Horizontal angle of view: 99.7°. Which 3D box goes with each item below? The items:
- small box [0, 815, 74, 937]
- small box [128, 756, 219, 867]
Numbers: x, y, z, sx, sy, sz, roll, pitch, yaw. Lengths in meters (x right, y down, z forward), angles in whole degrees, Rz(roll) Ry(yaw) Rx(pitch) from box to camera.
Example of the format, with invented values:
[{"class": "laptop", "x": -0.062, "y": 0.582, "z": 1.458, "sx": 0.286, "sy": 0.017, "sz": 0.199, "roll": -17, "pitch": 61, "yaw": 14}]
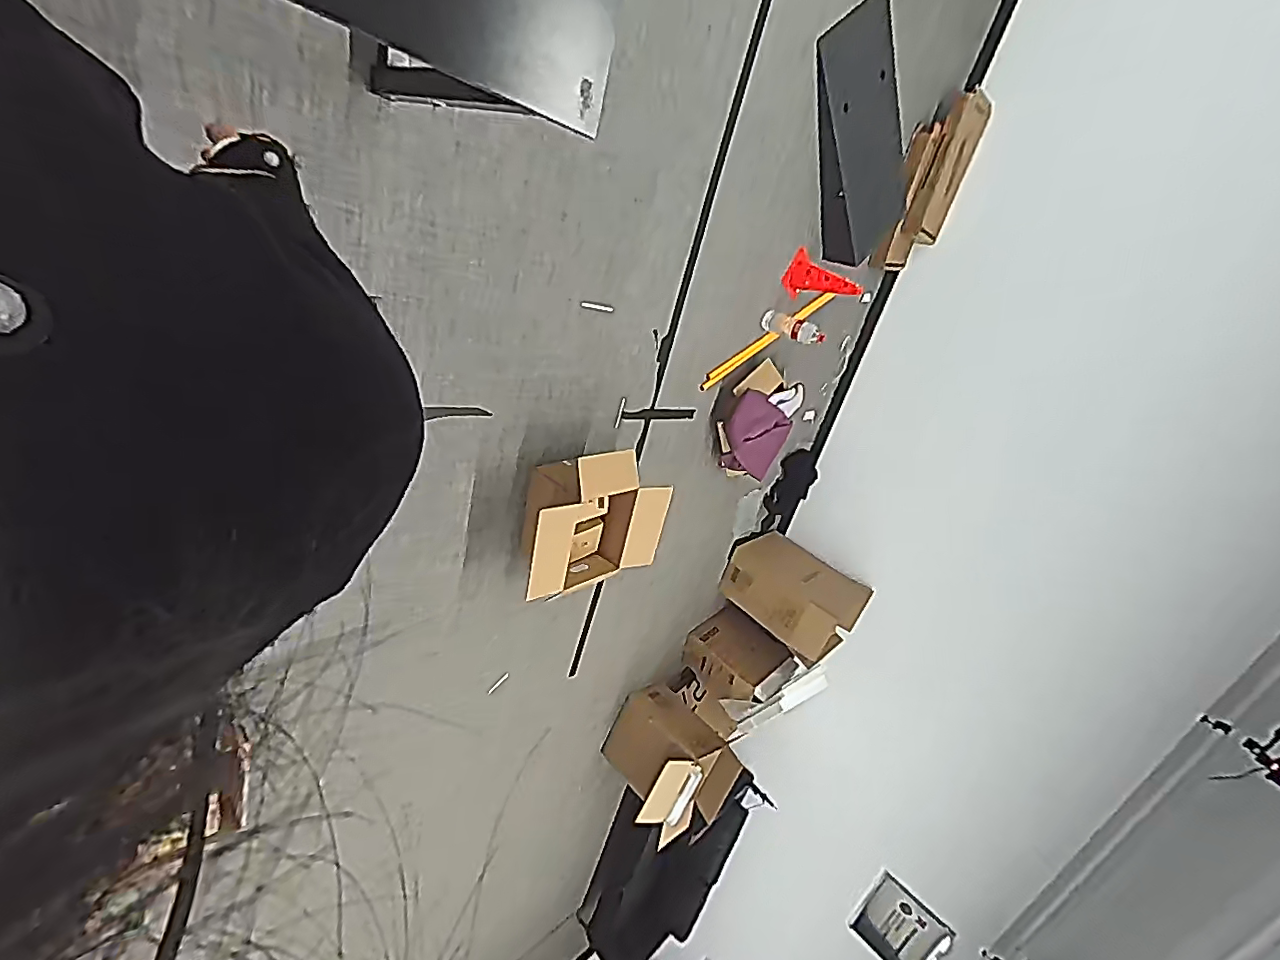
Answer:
[{"class": "small box", "x": -1.523, "y": 0.969, "z": 1.330, "sx": 0.168, "sy": 0.176, "sz": 0.179, "roll": -5, "pitch": 118, "yaw": -50}, {"class": "small box", "x": -1.326, "y": 0.932, "z": 1.538, "sx": 0.179, "sy": 0.176, "sz": 0.168, "roll": -6, "pitch": 119, "yaw": -47}]
